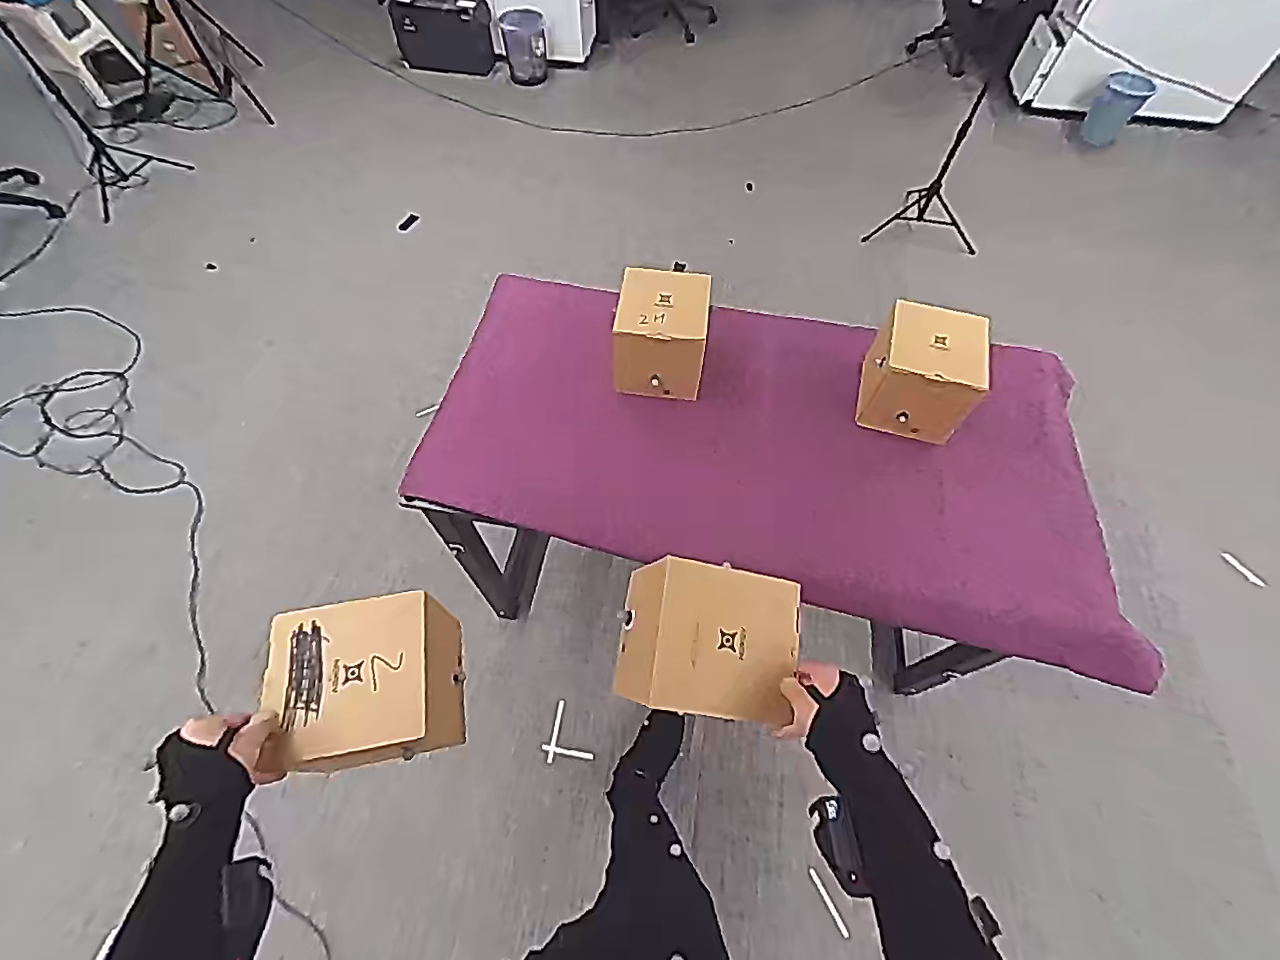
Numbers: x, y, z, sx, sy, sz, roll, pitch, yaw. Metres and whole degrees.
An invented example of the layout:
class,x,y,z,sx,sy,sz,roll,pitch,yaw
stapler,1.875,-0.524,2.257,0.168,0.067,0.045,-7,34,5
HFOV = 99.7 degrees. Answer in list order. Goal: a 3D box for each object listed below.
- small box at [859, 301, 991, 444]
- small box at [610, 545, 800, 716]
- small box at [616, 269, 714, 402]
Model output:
class,x,y,z,sx,sy,sz,roll,pitch,yaw
small box,0.526,-0.198,1.013,0.168,0.176,0.179,15,61,9
small box,0.077,0.191,0.683,0.179,0.176,0.168,14,69,-14
small box,0.046,-0.279,1.056,0.168,0.176,0.179,7,60,4
